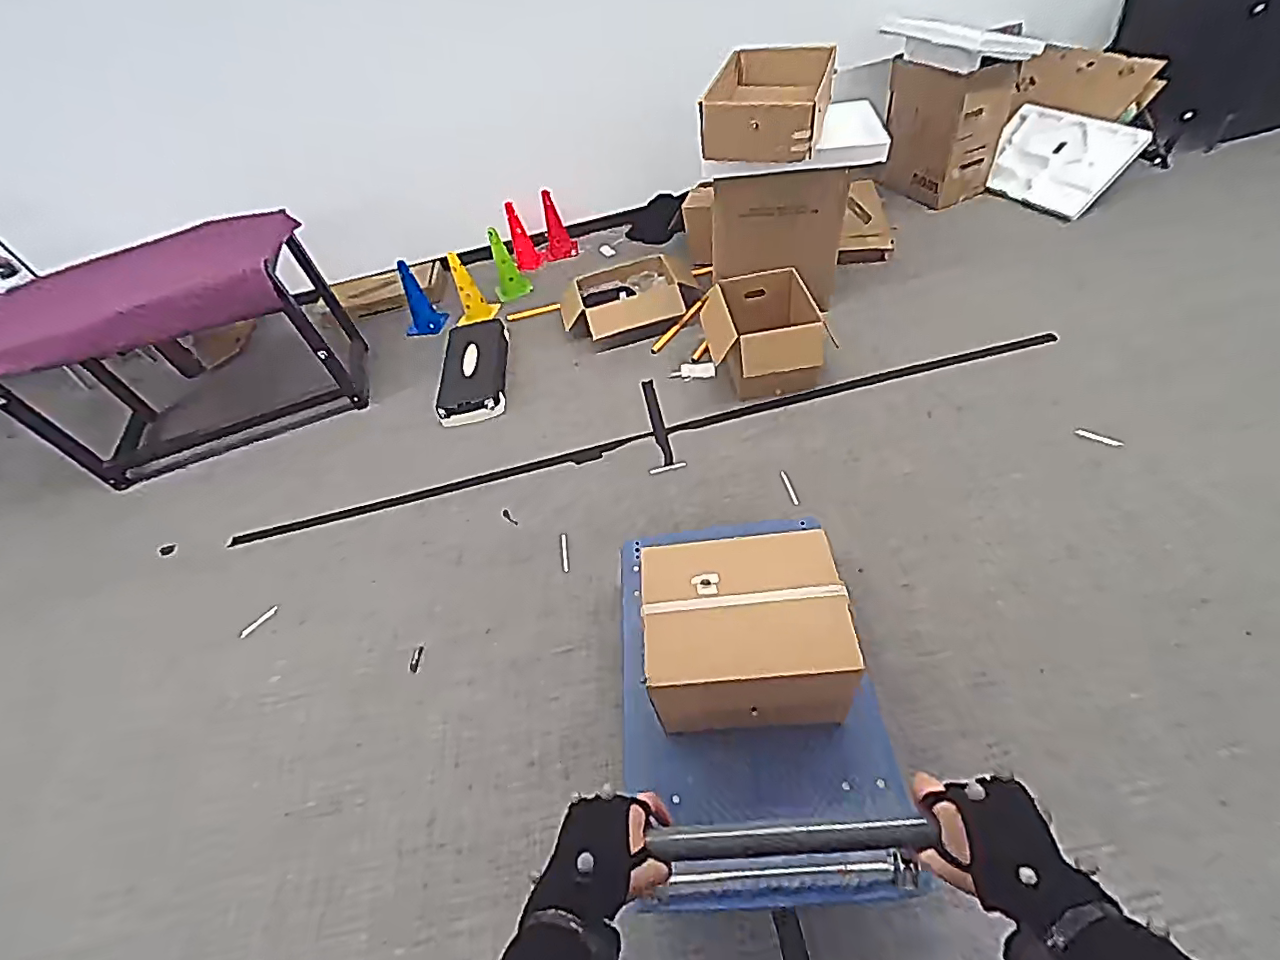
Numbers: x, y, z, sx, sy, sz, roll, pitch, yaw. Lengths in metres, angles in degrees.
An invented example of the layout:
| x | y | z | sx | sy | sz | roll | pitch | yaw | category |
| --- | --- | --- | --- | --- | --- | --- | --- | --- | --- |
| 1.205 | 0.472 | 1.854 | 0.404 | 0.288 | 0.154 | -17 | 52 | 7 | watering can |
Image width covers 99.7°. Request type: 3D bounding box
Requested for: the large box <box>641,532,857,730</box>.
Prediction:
| x | y | z | sx | sy | sz | roll | pitch | yaw | category |
| --- | --- | --- | --- | --- | --- | --- | --- | --- | --- |
| 0.231 | 0.352 | 1.229 | 0.408 | 0.320 | 0.320 | -8 | 48 | 7 | large box |
